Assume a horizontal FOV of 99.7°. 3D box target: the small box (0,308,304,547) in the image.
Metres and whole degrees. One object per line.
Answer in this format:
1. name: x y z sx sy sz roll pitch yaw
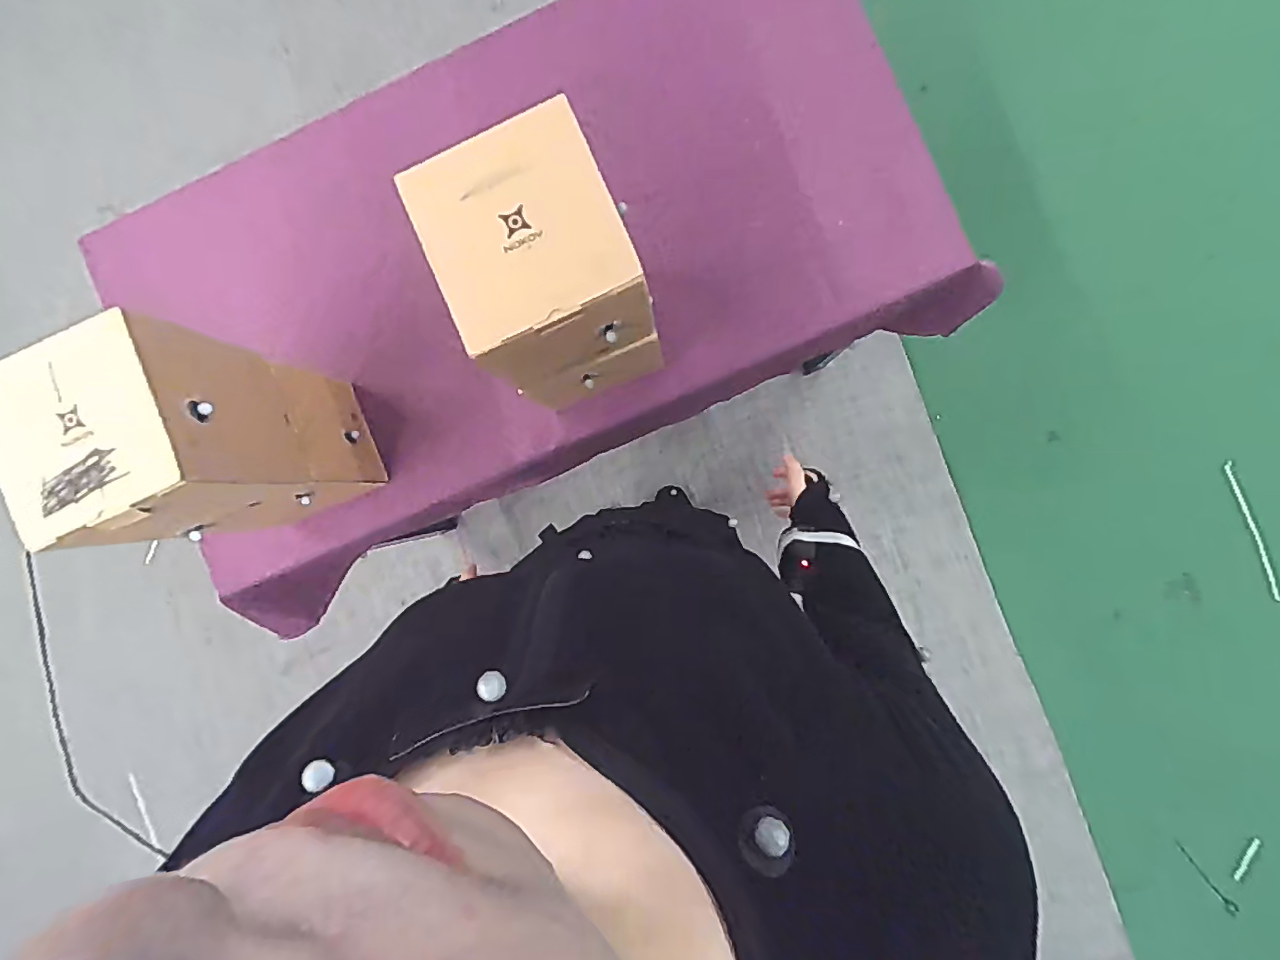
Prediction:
1. small box: -0.500 -0.046 0.569 0.168 0.176 0.179 -23 87 3

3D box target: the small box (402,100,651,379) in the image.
1. small box: -0.095 -0.214 0.541 0.168 0.176 0.179 -23 88 3

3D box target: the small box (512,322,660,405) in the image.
1. small box: -0.082 -0.208 0.704 0.179 0.176 0.168 -21 89 4

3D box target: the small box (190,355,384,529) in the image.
1. small box: -0.490 -0.043 0.732 0.179 0.176 0.168 -23 88 2
